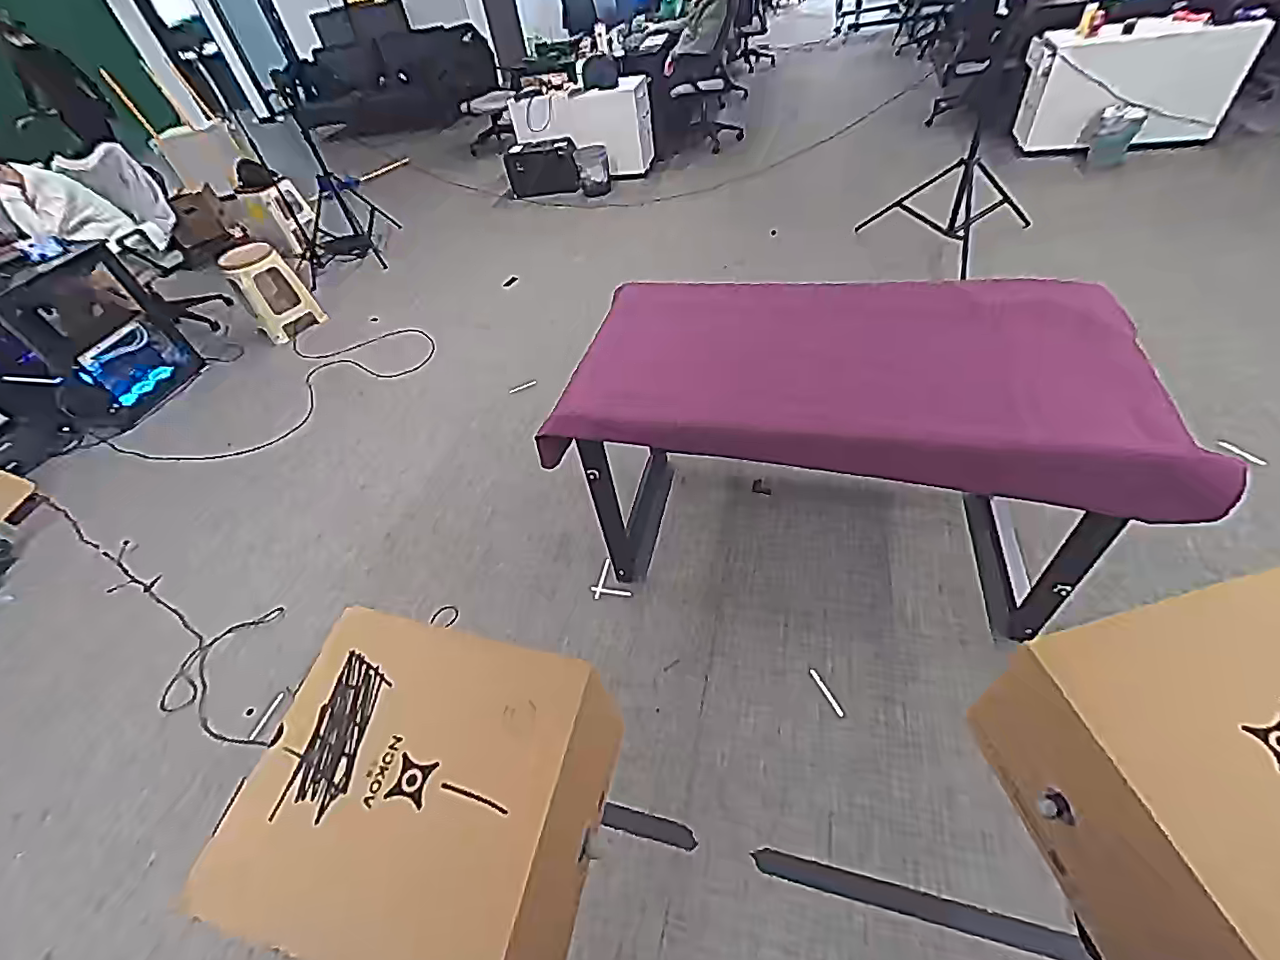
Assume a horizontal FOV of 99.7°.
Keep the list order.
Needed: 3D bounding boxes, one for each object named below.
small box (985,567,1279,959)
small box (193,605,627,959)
[{"bbox_3d":[0.351,0.182,0.336,0.179,0.176,0.168,-17,50,1],"label":"small box"},{"bbox_3d":[-0.118,0.207,0.362,0.179,0.176,0.168,9,56,12],"label":"small box"}]
